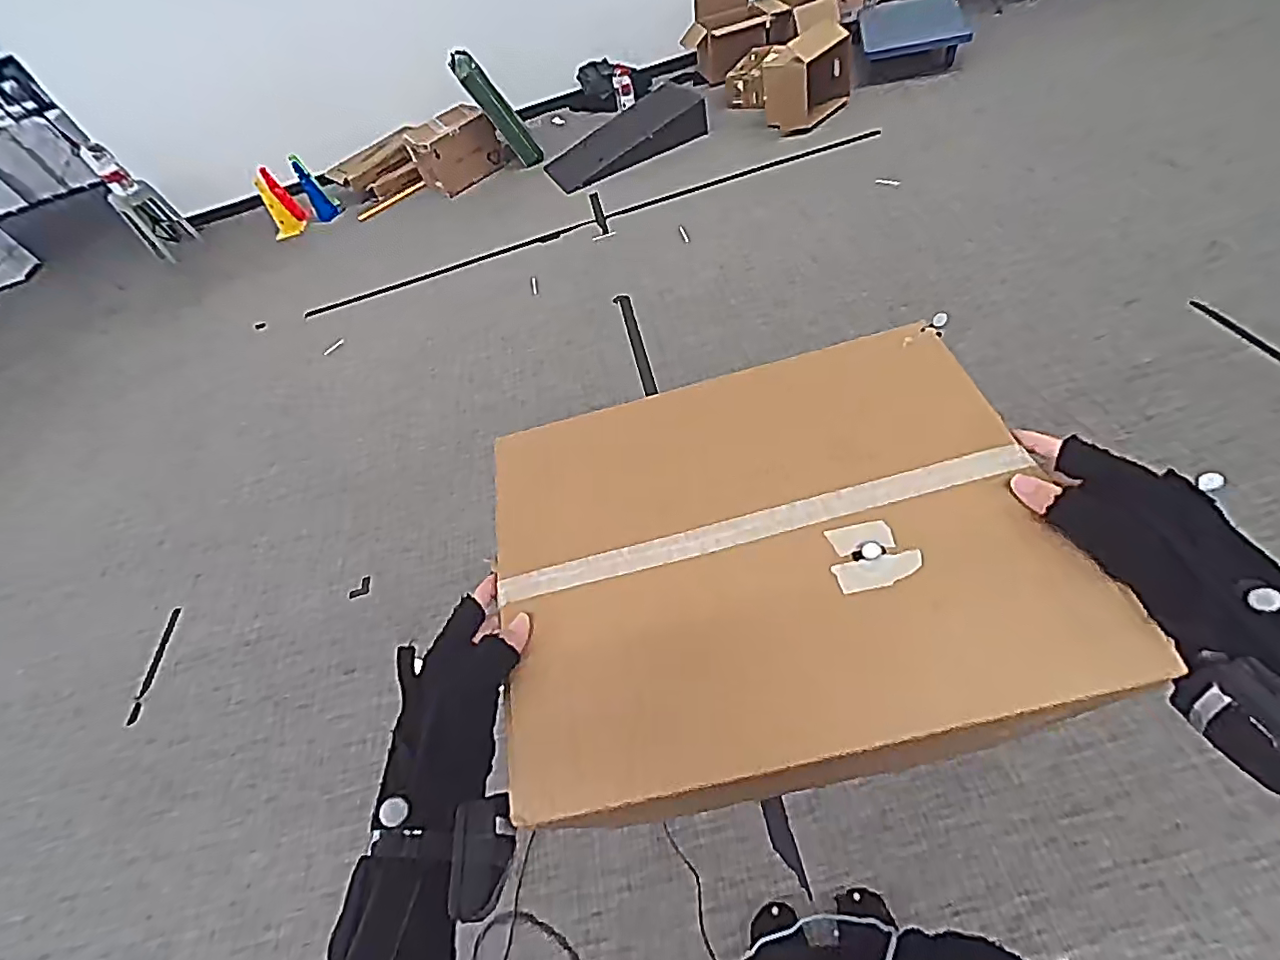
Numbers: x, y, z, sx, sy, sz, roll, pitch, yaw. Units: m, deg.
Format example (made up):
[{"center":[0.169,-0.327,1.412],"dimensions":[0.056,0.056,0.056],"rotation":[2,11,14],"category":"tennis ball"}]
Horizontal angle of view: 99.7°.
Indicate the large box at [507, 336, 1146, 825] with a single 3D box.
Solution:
[{"center":[0.118,0.121,0.543],"dimensions":[0.408,0.320,0.320],"rotation":[-15,56,3],"category":"large box"}]
